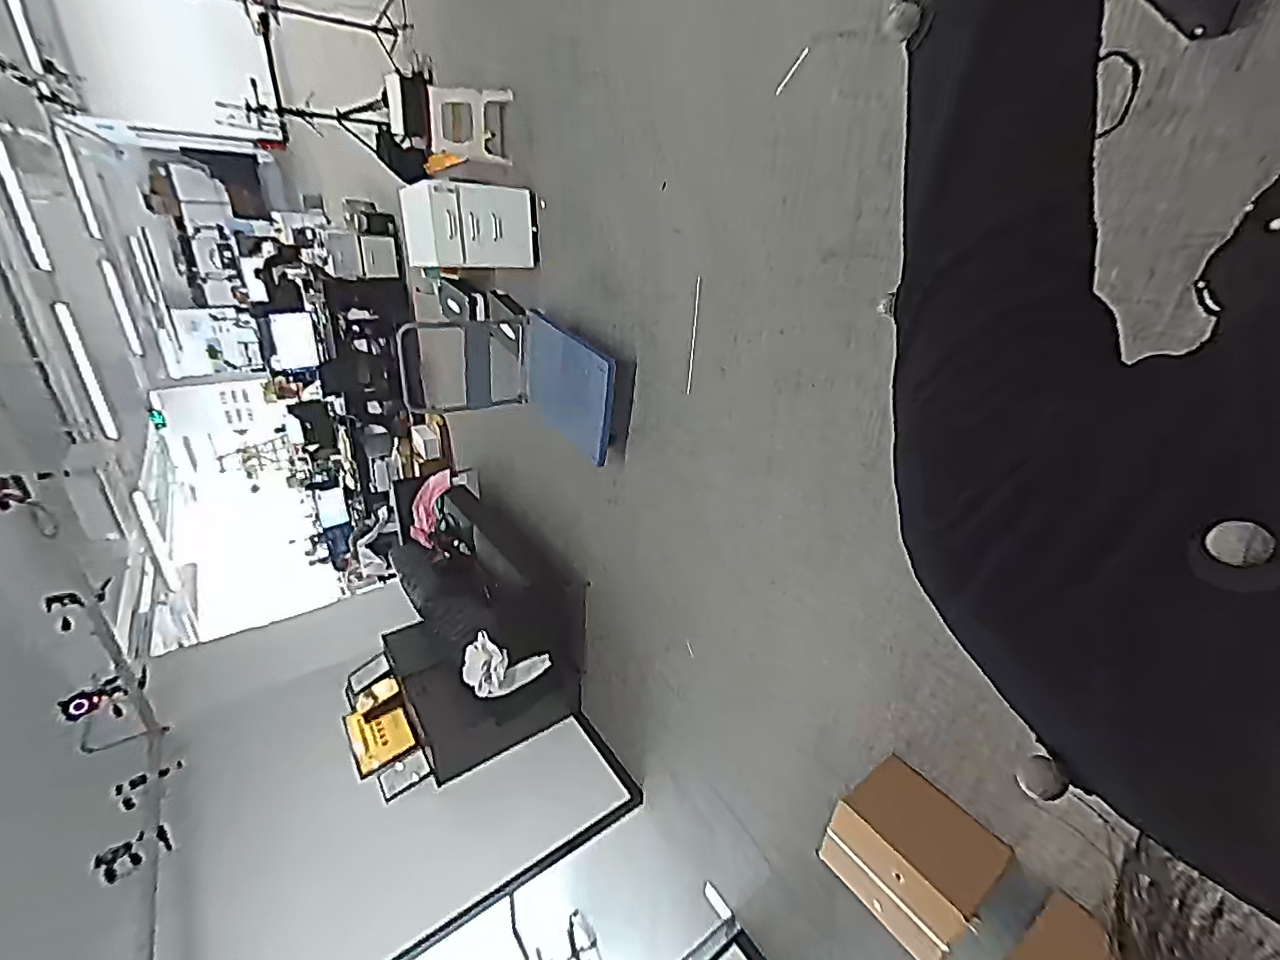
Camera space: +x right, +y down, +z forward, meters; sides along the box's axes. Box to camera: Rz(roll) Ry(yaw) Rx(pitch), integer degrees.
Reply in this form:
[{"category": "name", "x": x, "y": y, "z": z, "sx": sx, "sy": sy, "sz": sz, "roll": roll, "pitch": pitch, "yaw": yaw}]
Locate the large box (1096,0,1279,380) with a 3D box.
[{"category": "large box", "x": 0.538, "y": -0.254, "z": 0.256, "sx": 0.320, "sy": 0.320, "sz": 0.408, "roll": -38, "pitch": 113, "yaw": 20}]
